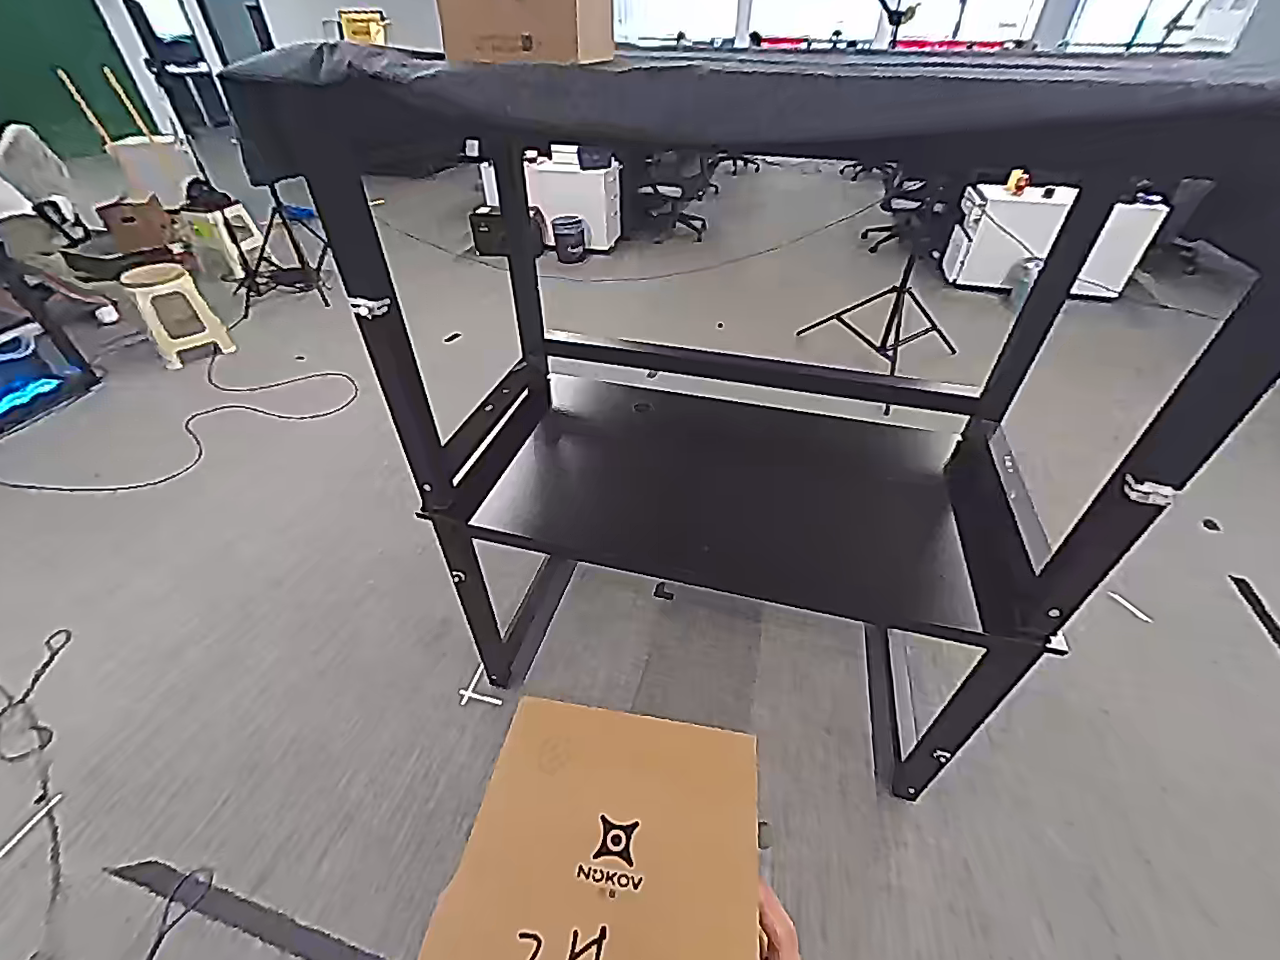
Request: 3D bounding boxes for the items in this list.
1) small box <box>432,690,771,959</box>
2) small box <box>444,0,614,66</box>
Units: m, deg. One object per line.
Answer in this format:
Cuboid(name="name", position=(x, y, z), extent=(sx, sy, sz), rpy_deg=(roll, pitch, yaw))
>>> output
Cuboid(name="small box", position=(-0.013, 0.271, 0.348), extent=(0.168, 0.176, 0.179), rpy_deg=(7, 37, 6))
Cuboid(name="small box", position=(-0.127, -0.596, 0.635), extent=(0.168, 0.176, 0.179), rpy_deg=(8, 40, 8))
